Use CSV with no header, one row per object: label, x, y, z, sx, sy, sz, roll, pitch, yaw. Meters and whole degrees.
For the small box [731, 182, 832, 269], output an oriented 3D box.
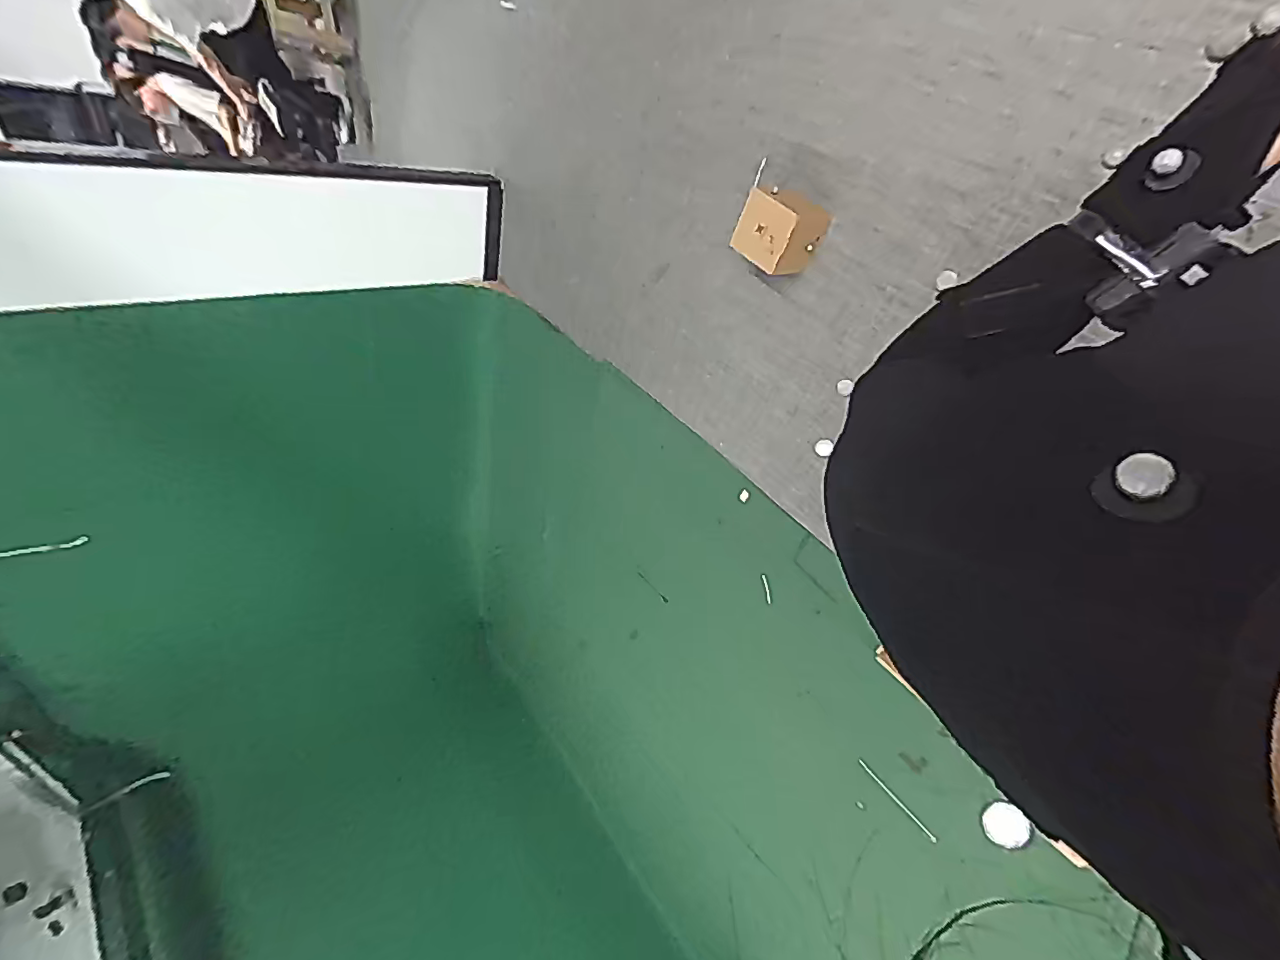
small box,0.398,-0.713,1.521,0.179,0.176,0.168,48,138,25
